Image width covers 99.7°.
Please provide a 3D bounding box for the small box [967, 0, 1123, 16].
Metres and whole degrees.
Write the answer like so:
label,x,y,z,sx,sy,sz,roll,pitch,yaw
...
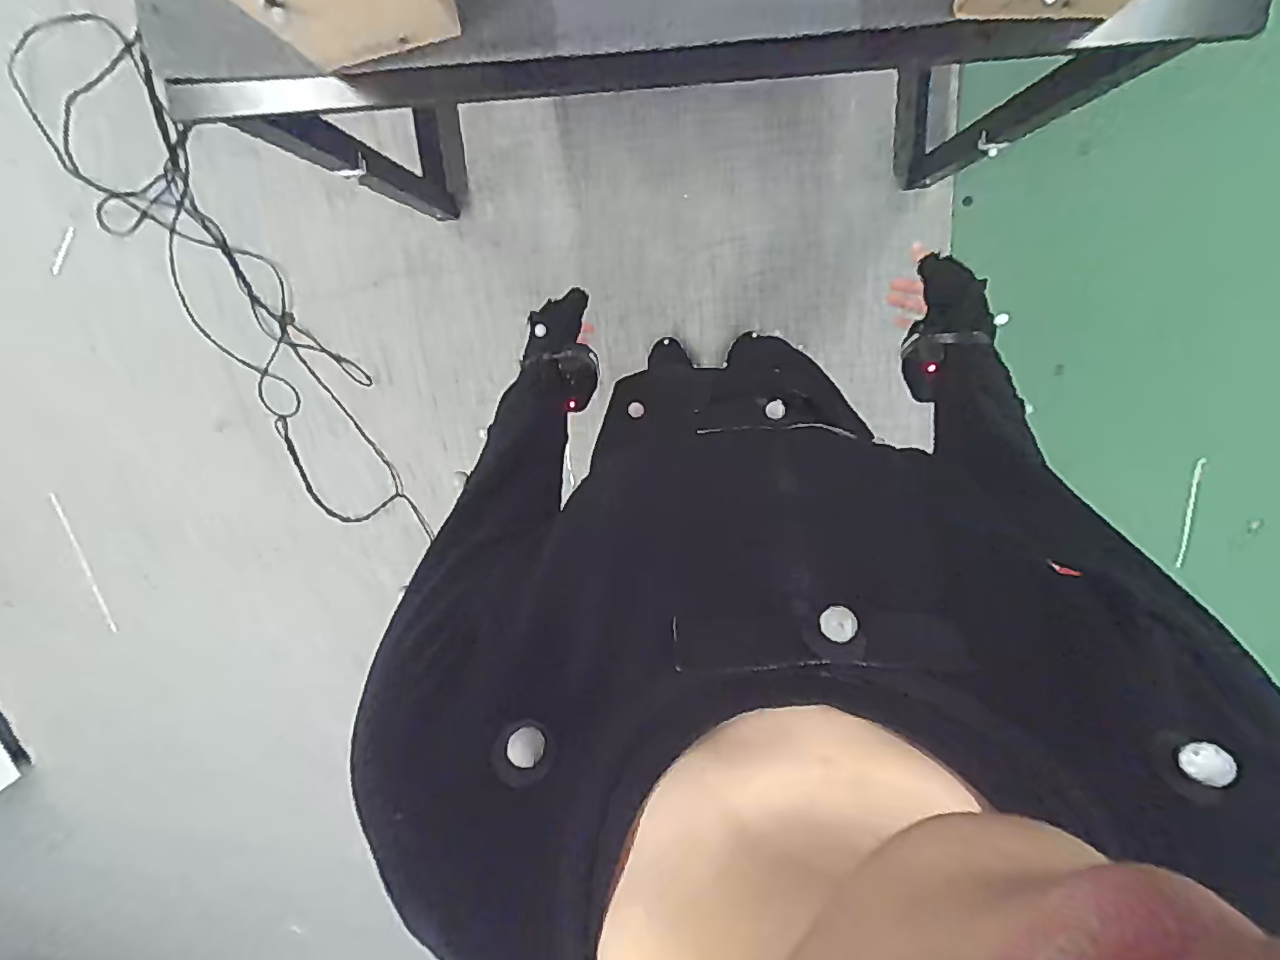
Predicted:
label,x,y,z,sx,sy,sz,roll,pitch,yaw
small box,0.413,-0.551,0.467,0.168,0.176,0.179,2,108,3
